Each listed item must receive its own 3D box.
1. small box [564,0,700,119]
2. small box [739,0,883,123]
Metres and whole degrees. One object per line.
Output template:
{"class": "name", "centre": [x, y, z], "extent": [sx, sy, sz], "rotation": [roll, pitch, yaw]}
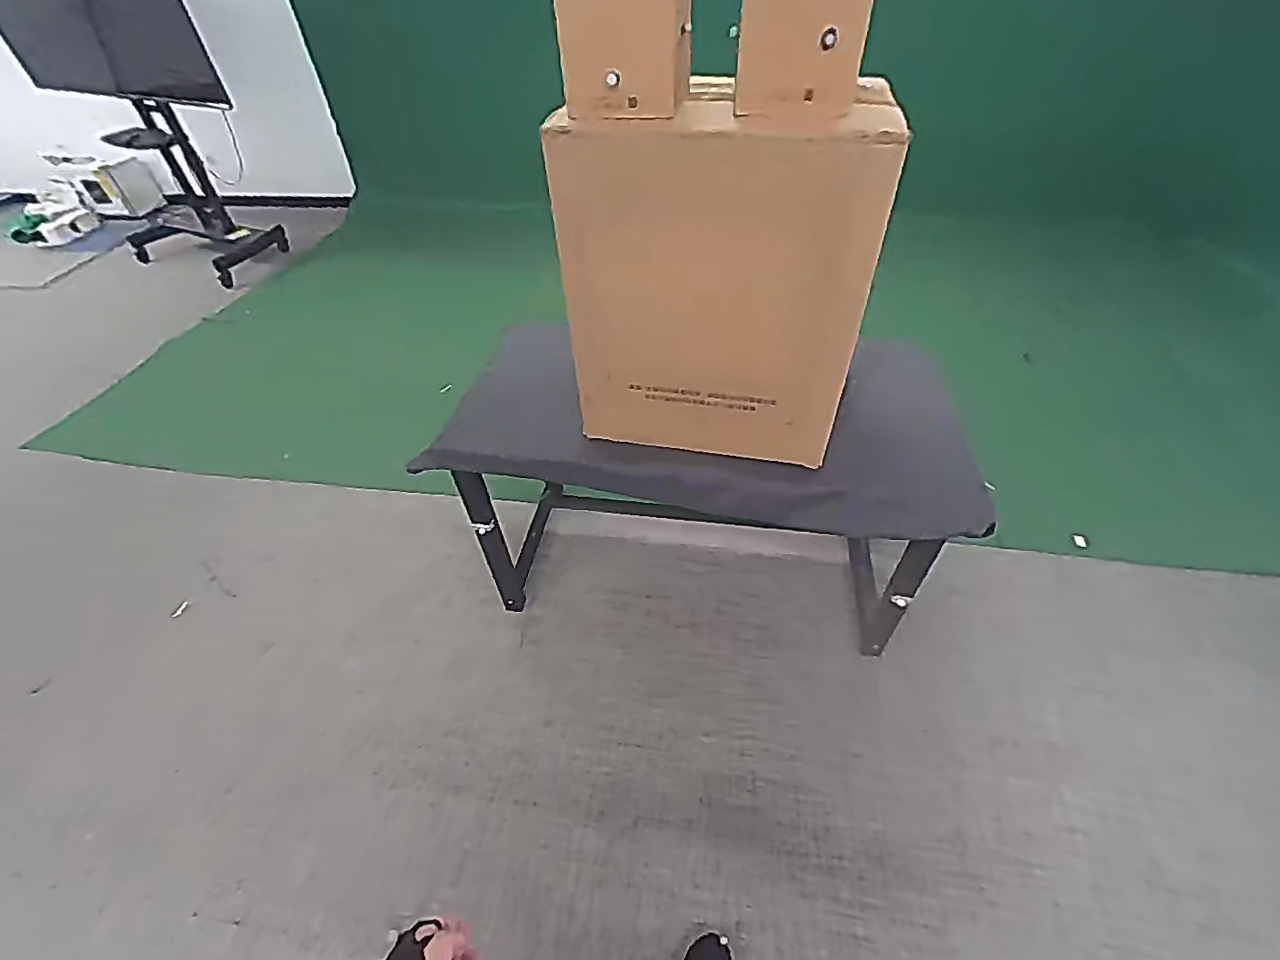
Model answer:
{"class": "small box", "centre": [-0.007, -0.656, 0.798], "extent": [0.168, 0.176, 0.179], "rotation": [9, 49, 12]}
{"class": "small box", "centre": [0.238, -0.632, 0.775], "extent": [0.168, 0.176, 0.179], "rotation": [7, 48, 5]}
